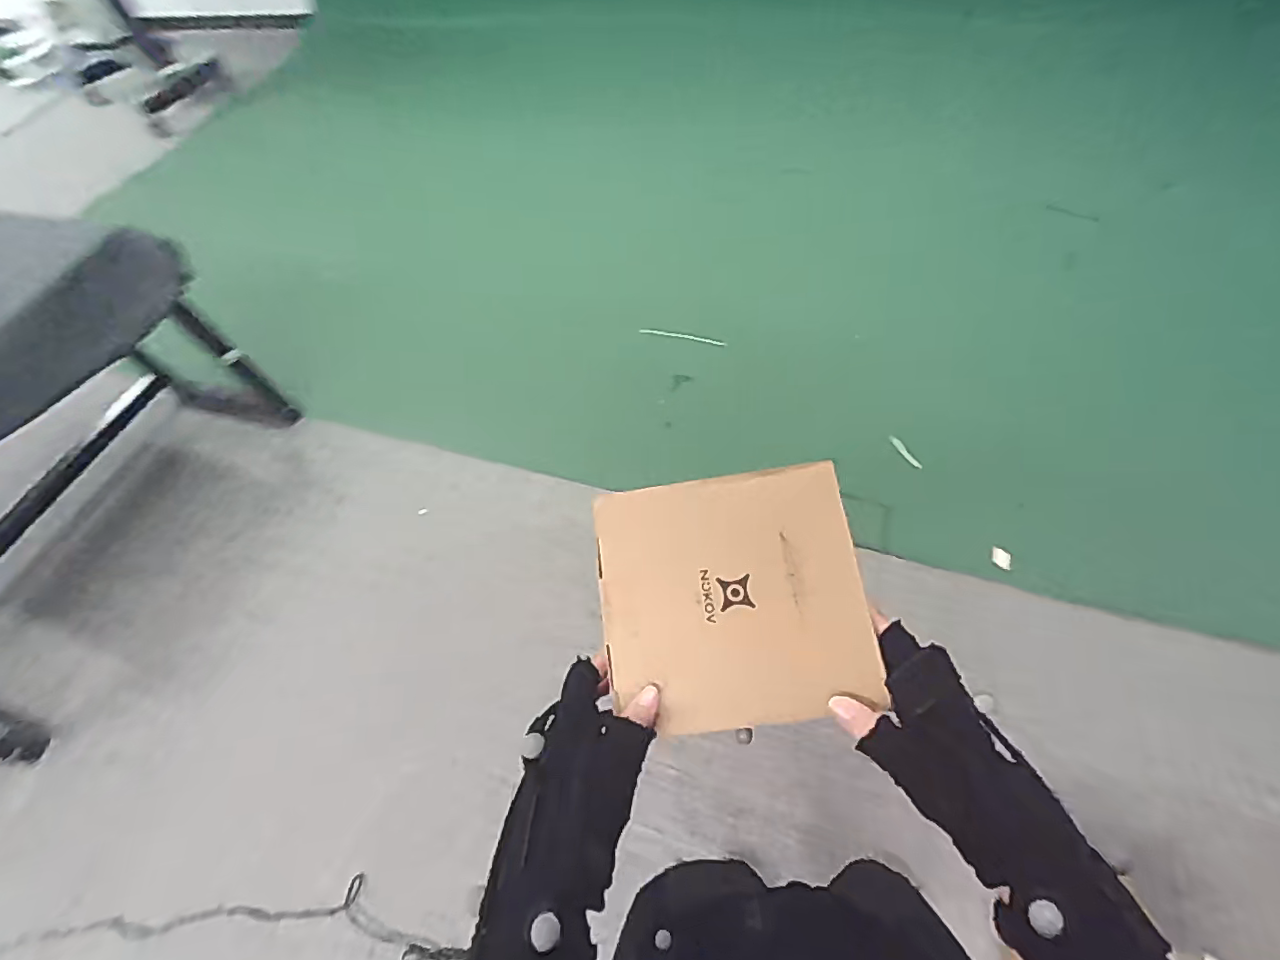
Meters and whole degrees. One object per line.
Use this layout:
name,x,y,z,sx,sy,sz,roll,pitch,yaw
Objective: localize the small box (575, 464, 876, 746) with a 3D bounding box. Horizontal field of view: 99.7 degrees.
small box,0.057,0.103,0.436,0.179,0.176,0.168,-10,72,2
